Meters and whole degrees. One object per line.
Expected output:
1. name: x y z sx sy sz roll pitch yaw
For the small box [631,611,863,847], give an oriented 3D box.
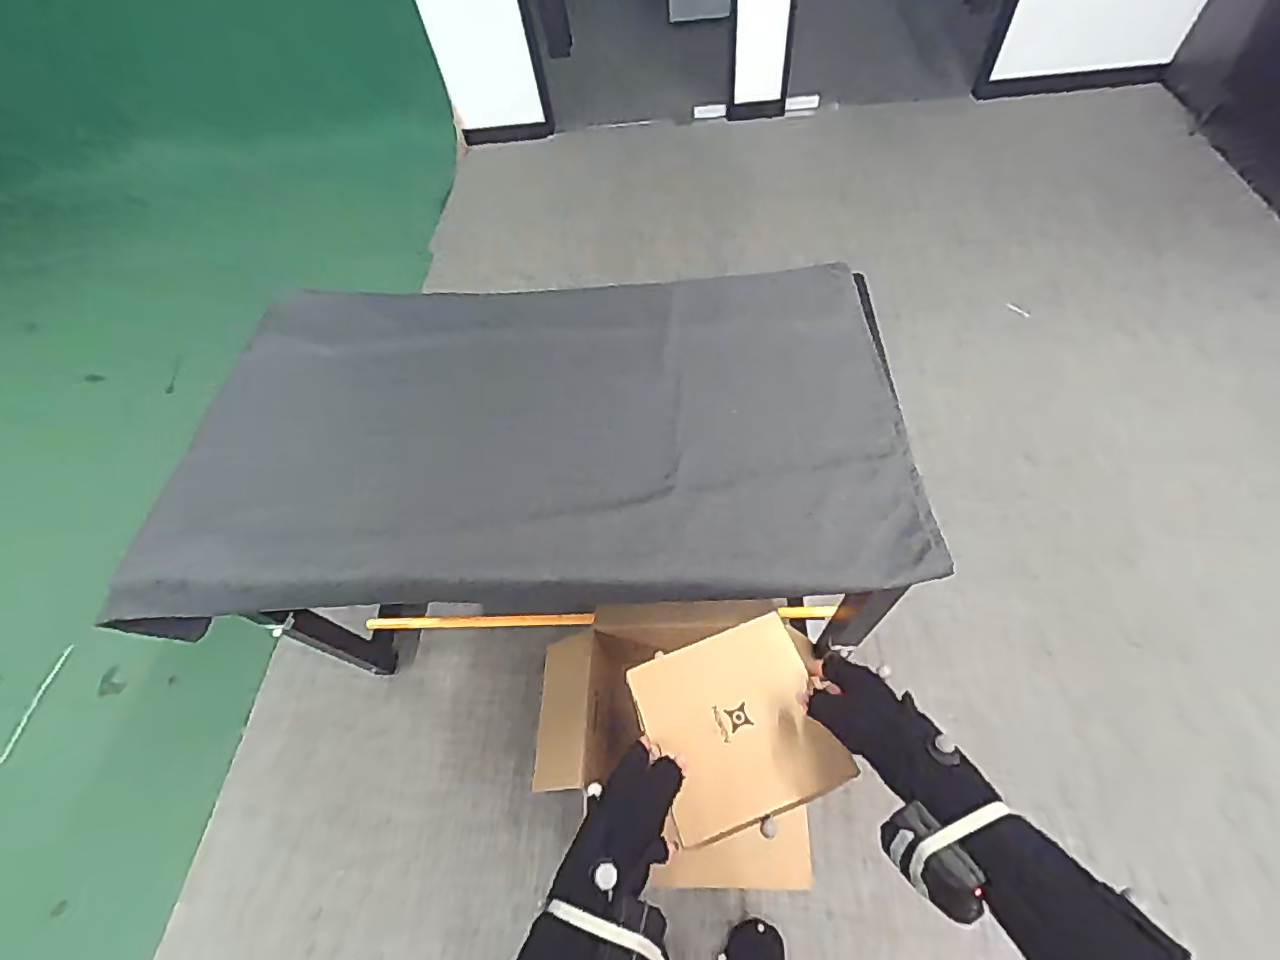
1. small box: 0.106 0.271 0.588 0.179 0.176 0.168 -22 56 -3
